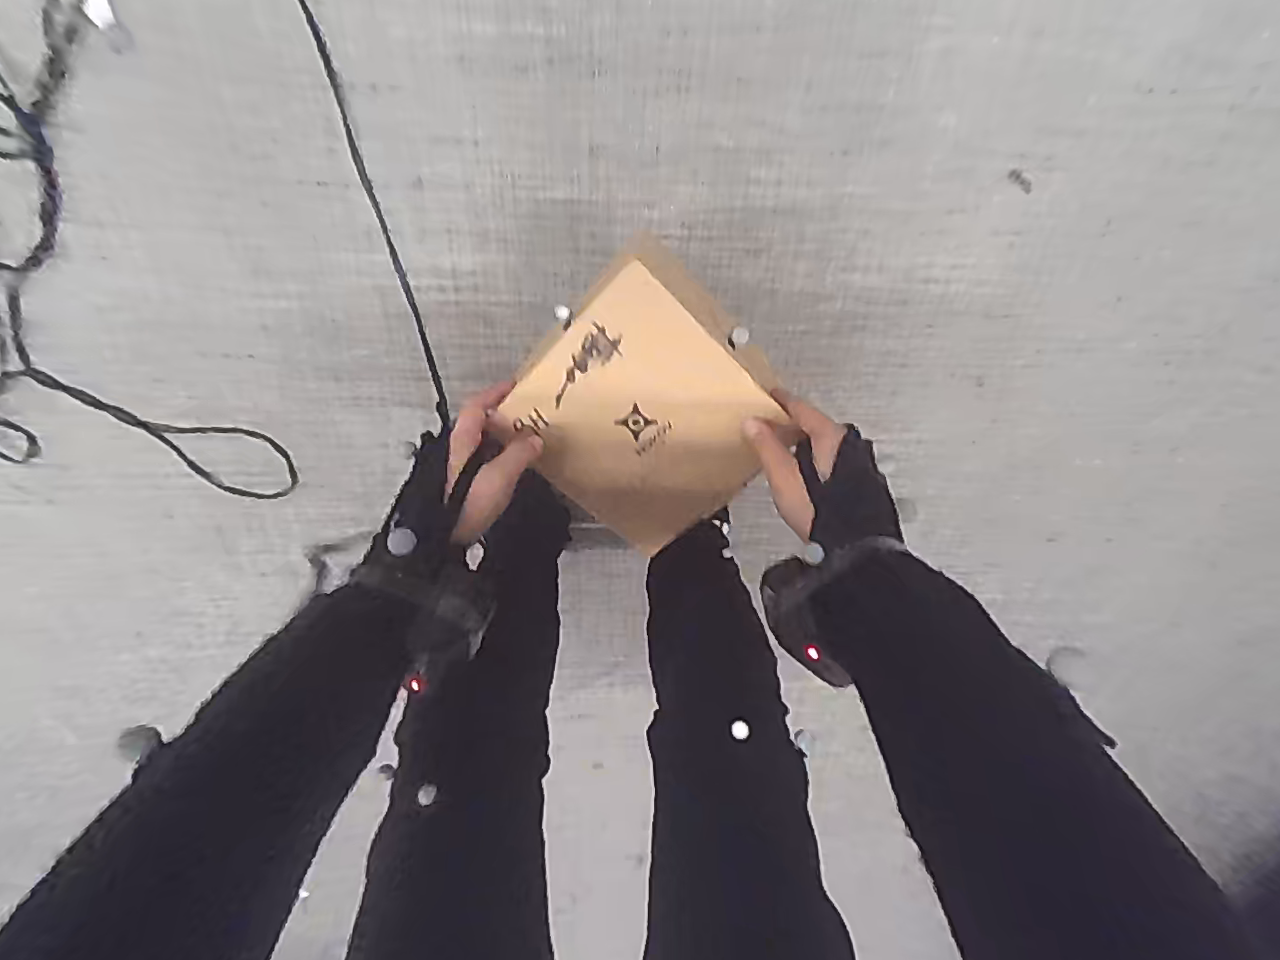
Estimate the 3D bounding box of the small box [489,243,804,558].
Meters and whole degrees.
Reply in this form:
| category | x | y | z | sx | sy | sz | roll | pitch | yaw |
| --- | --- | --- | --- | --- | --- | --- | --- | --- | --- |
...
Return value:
| category | x | y | z | sx | sy | sz | roll | pitch | yaw |
| --- | --- | --- | --- | --- | --- | --- | --- | --- | --- |
| small box | 0.007 | -0.074 | 0.463 | 0.168 | 0.176 | 0.179 | -40 | 113 | 22 |
